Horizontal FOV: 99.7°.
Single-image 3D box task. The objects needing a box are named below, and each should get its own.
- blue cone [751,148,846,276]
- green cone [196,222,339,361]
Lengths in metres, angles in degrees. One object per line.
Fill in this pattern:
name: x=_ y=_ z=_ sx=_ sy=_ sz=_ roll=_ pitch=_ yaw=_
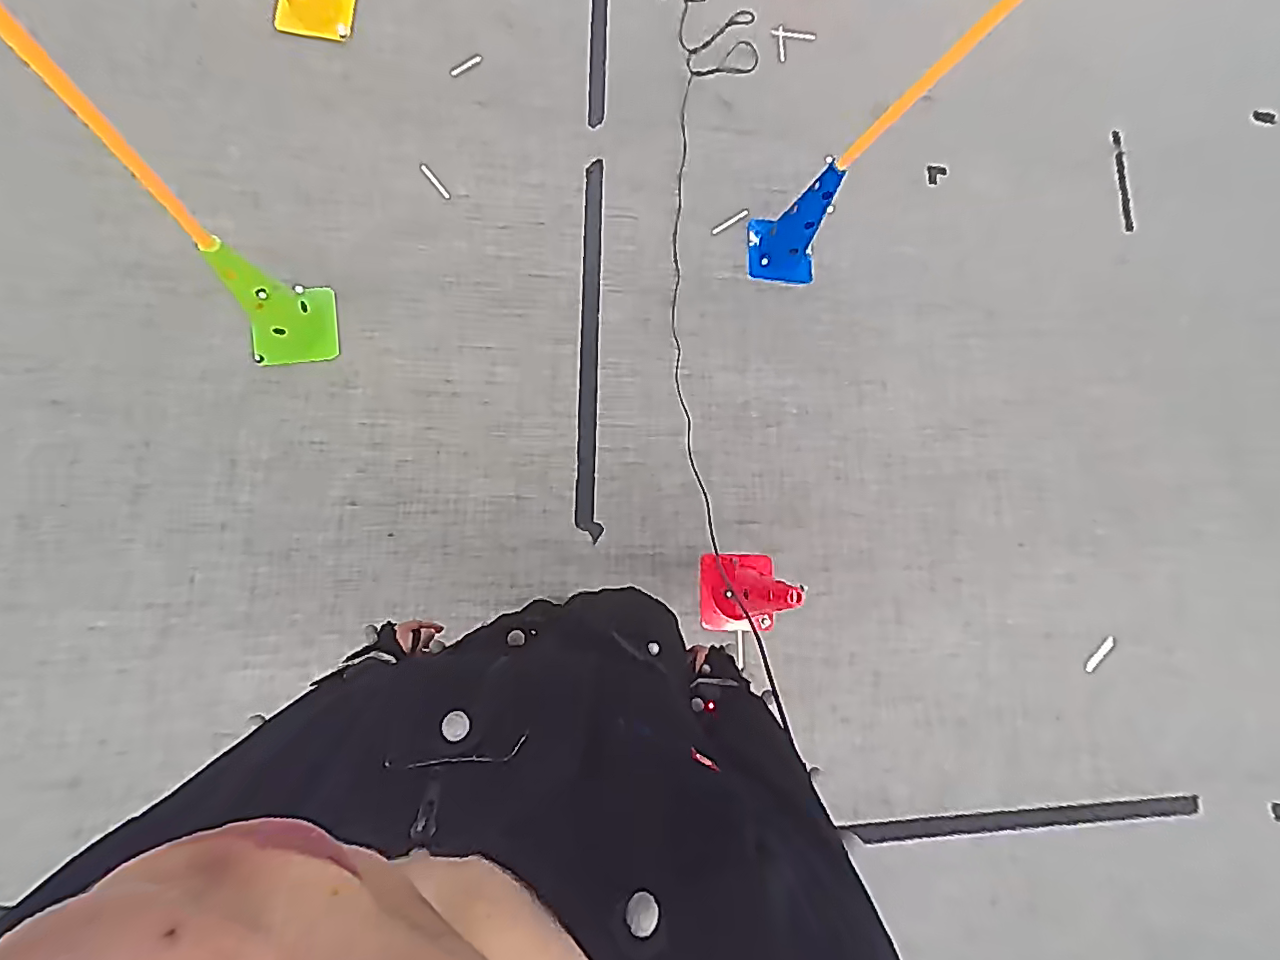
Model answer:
blue cone: x=0.452 y=-0.738 z=1.474 sx=0.193 sy=0.380 sz=0.192 roll=4 pitch=79 yaw=-8
green cone: x=-0.854 y=-0.438 z=1.213 sx=0.200 sy=0.368 sz=0.202 roll=-9 pitch=79 yaw=-10
